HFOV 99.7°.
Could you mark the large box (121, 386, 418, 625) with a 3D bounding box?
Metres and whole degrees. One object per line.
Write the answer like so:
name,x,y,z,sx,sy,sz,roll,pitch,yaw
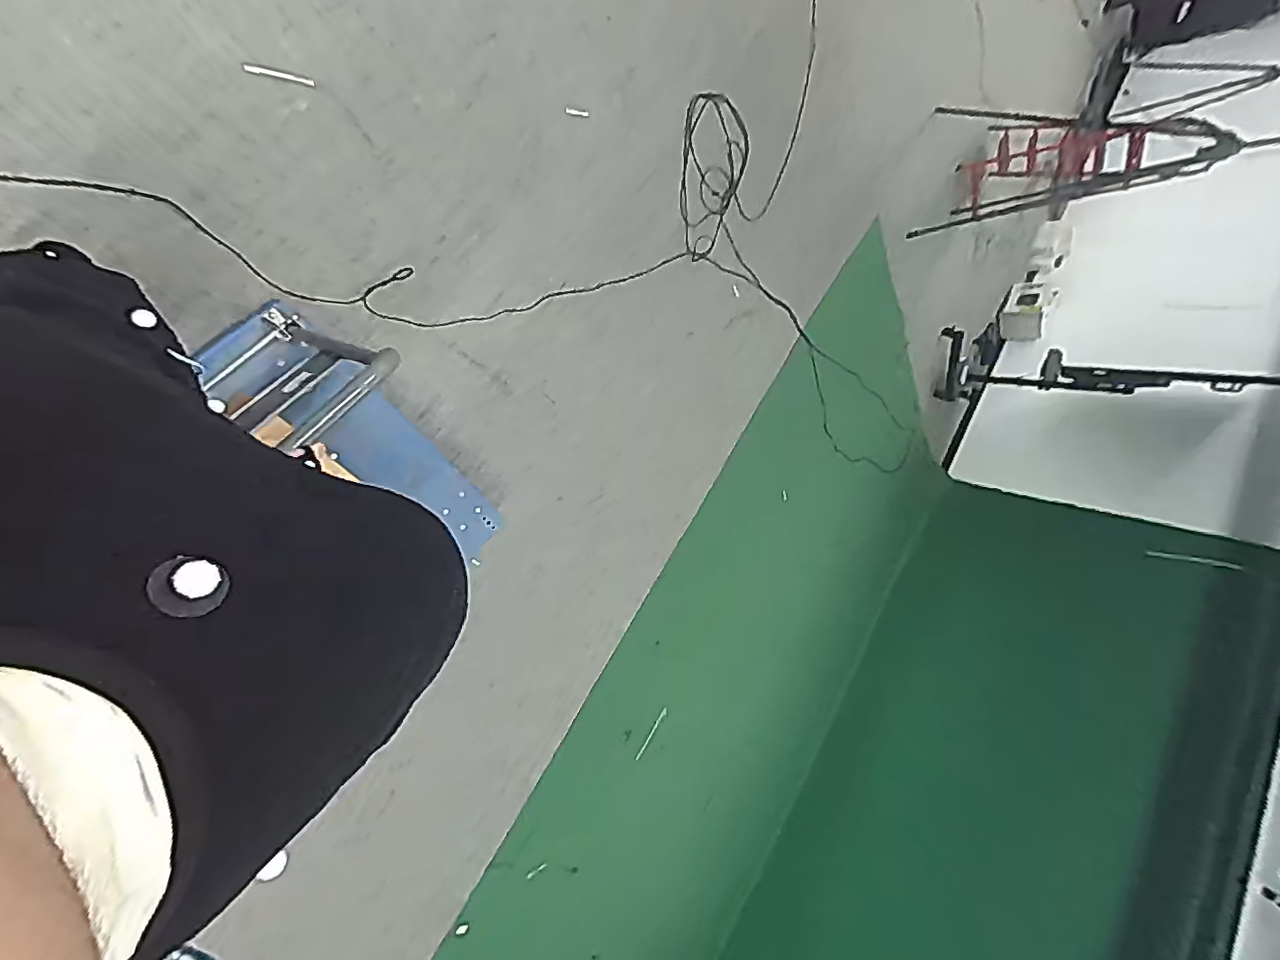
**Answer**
large box,-0.798,0.051,1.193,0.320,0.320,0.408,-52,135,-19
